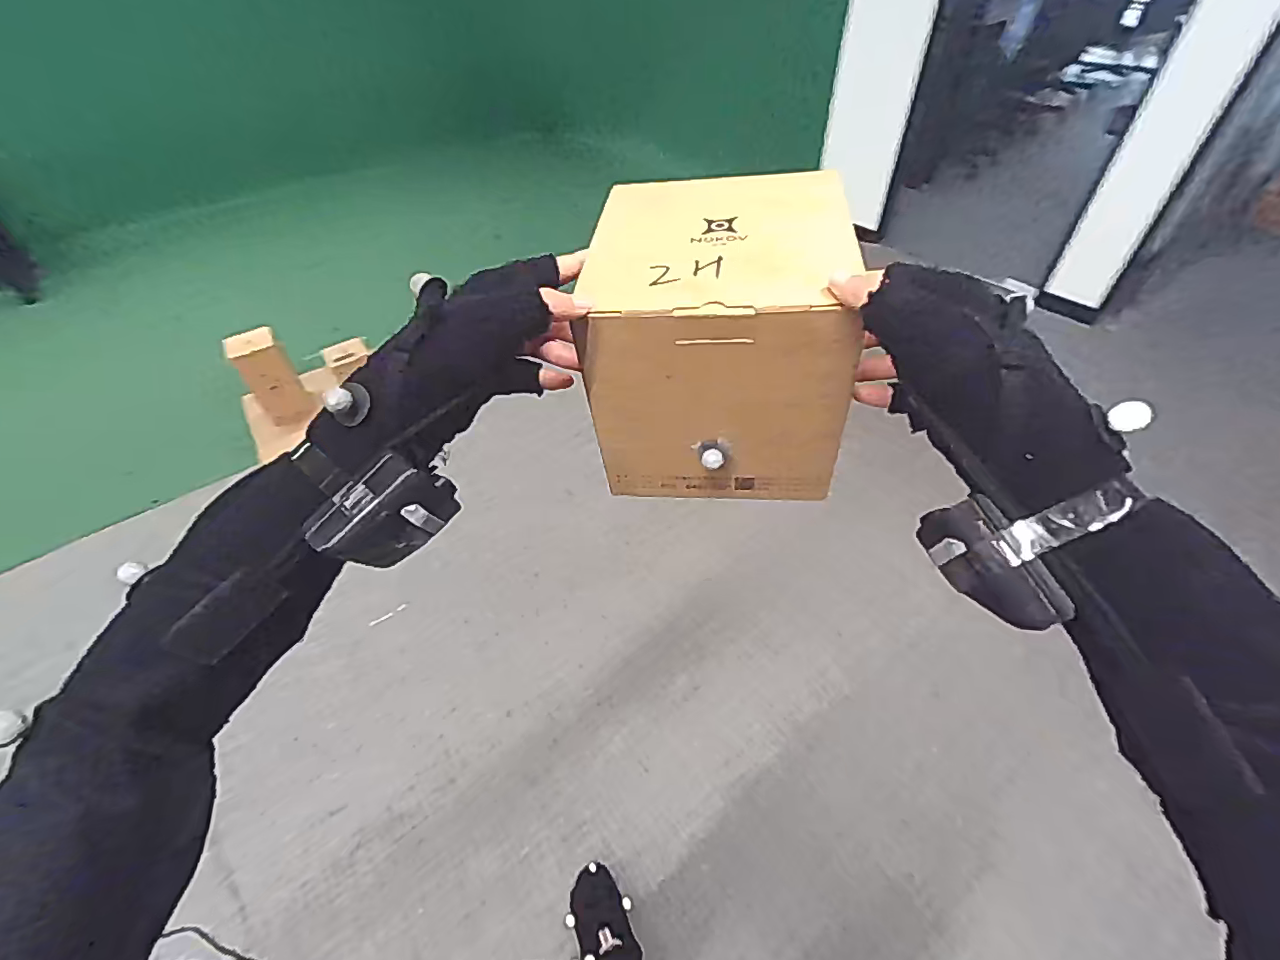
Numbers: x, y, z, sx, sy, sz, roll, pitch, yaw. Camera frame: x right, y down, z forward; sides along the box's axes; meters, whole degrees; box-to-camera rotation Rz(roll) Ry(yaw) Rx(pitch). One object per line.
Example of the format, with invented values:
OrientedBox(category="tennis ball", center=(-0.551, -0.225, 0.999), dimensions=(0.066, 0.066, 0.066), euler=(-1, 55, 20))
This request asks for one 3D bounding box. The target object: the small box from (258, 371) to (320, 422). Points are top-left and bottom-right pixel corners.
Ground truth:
OrientedBox(category="small box", center=(-1.503, -0.369, 2.311), dimensions=(0.168, 0.176, 0.179), euler=(-28, 50, -20))

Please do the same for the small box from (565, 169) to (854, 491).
OrientedBox(category="small box", center=(0.054, -0.113, 0.416), dimensions=(0.168, 0.176, 0.179), euler=(1, 50, 10))

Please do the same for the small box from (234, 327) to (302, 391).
OrientedBox(category="small box", center=(-1.514, -0.490, 2.202), dimensions=(0.168, 0.176, 0.179), euler=(-26, 51, -20))
